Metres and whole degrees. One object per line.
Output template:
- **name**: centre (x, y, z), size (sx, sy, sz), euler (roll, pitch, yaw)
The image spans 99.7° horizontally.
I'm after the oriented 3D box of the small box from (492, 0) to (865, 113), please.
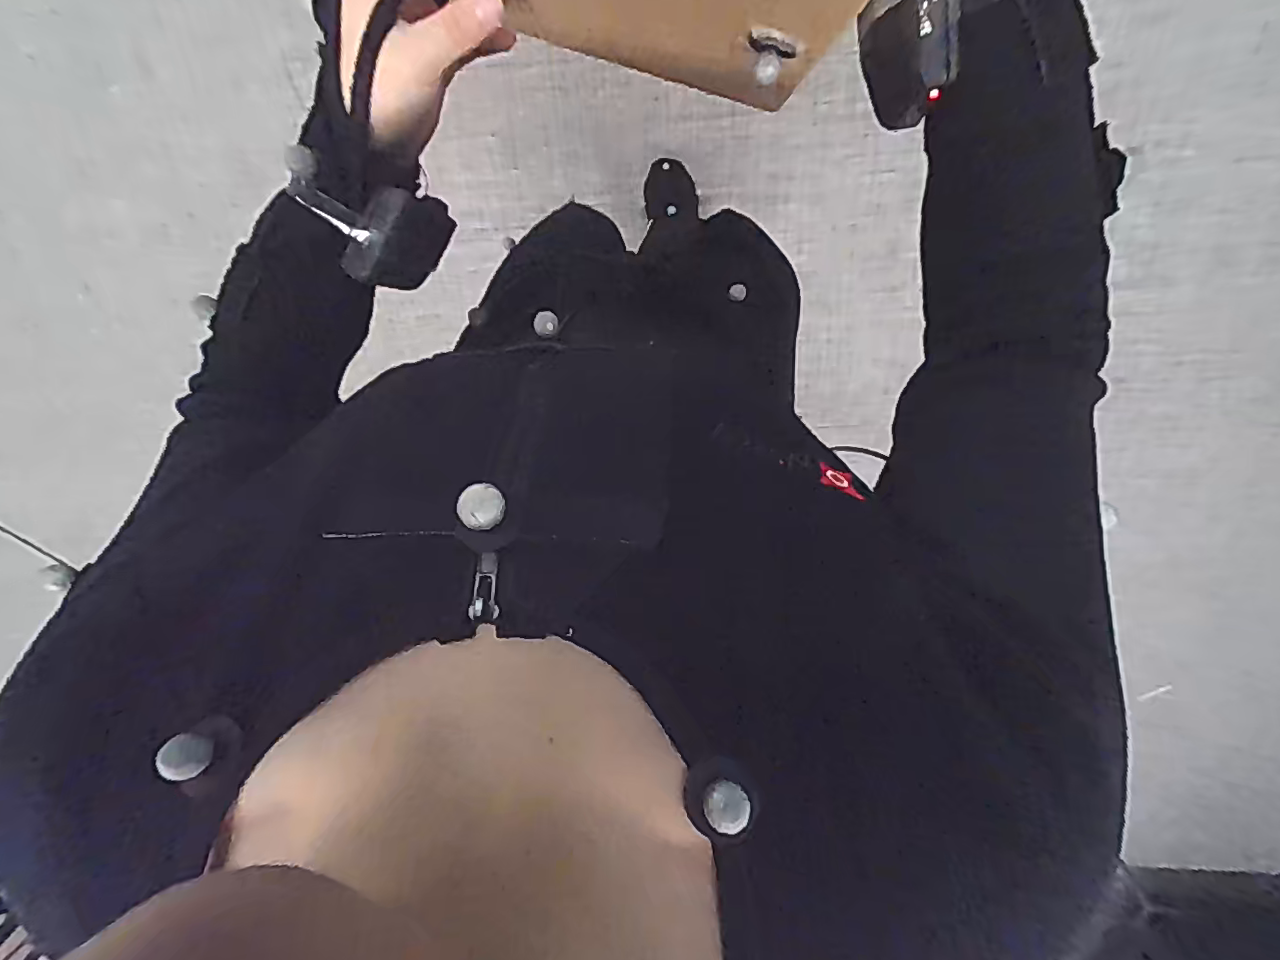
- **small box**: centre (0.023, -0.292, 0.220), size (0.176, 0.168, 0.179), euler (14, 111, -4)
